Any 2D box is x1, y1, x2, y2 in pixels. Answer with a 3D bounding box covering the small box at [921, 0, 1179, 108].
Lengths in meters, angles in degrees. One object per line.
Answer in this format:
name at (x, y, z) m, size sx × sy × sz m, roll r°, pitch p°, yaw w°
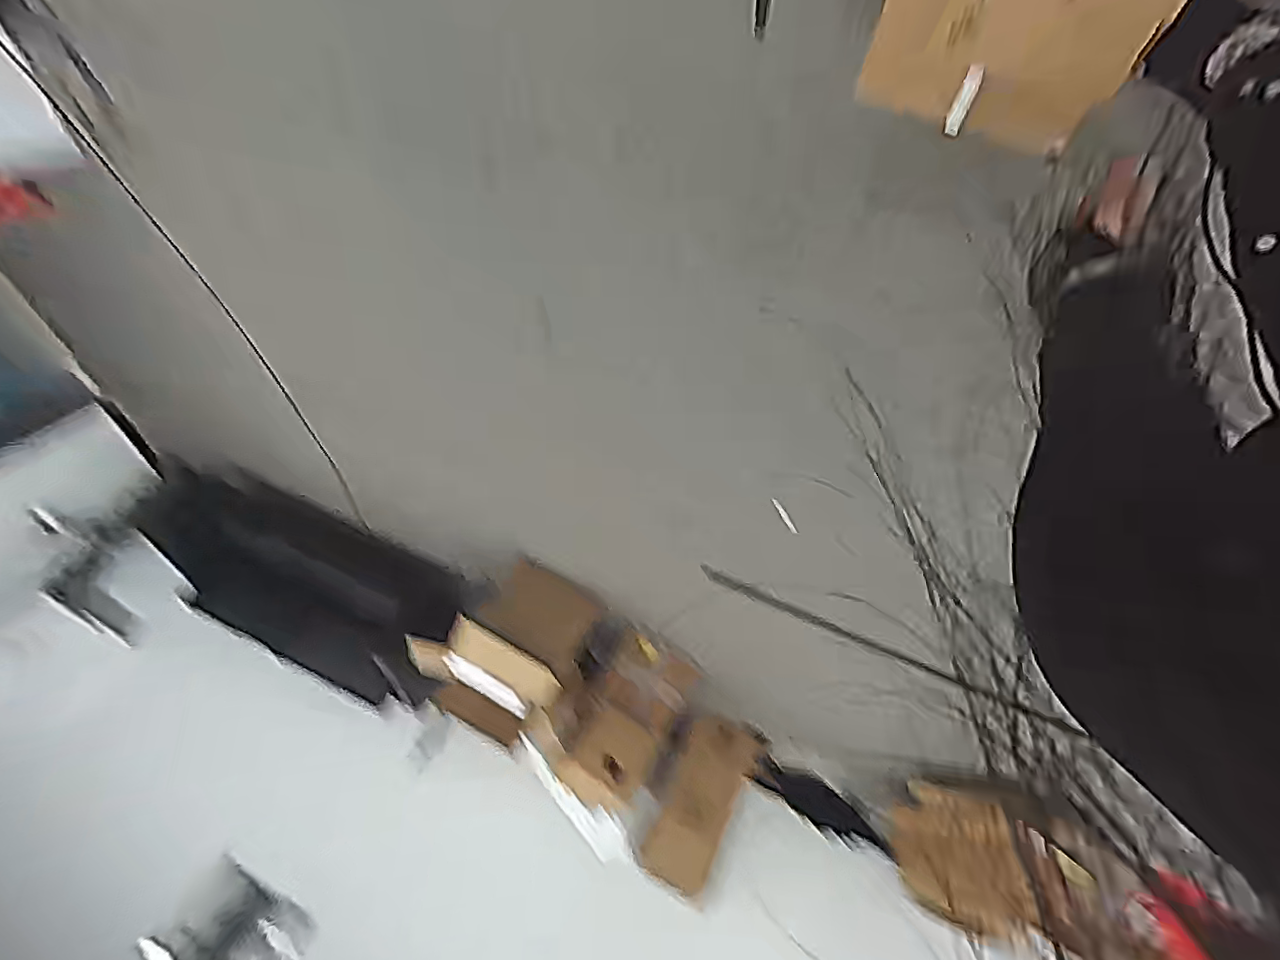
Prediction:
small box at (0.395, -0.479, 0.504) m, size 0.179 × 0.176 × 0.168 m, roll 23°, pitch 138°, yaw 11°
